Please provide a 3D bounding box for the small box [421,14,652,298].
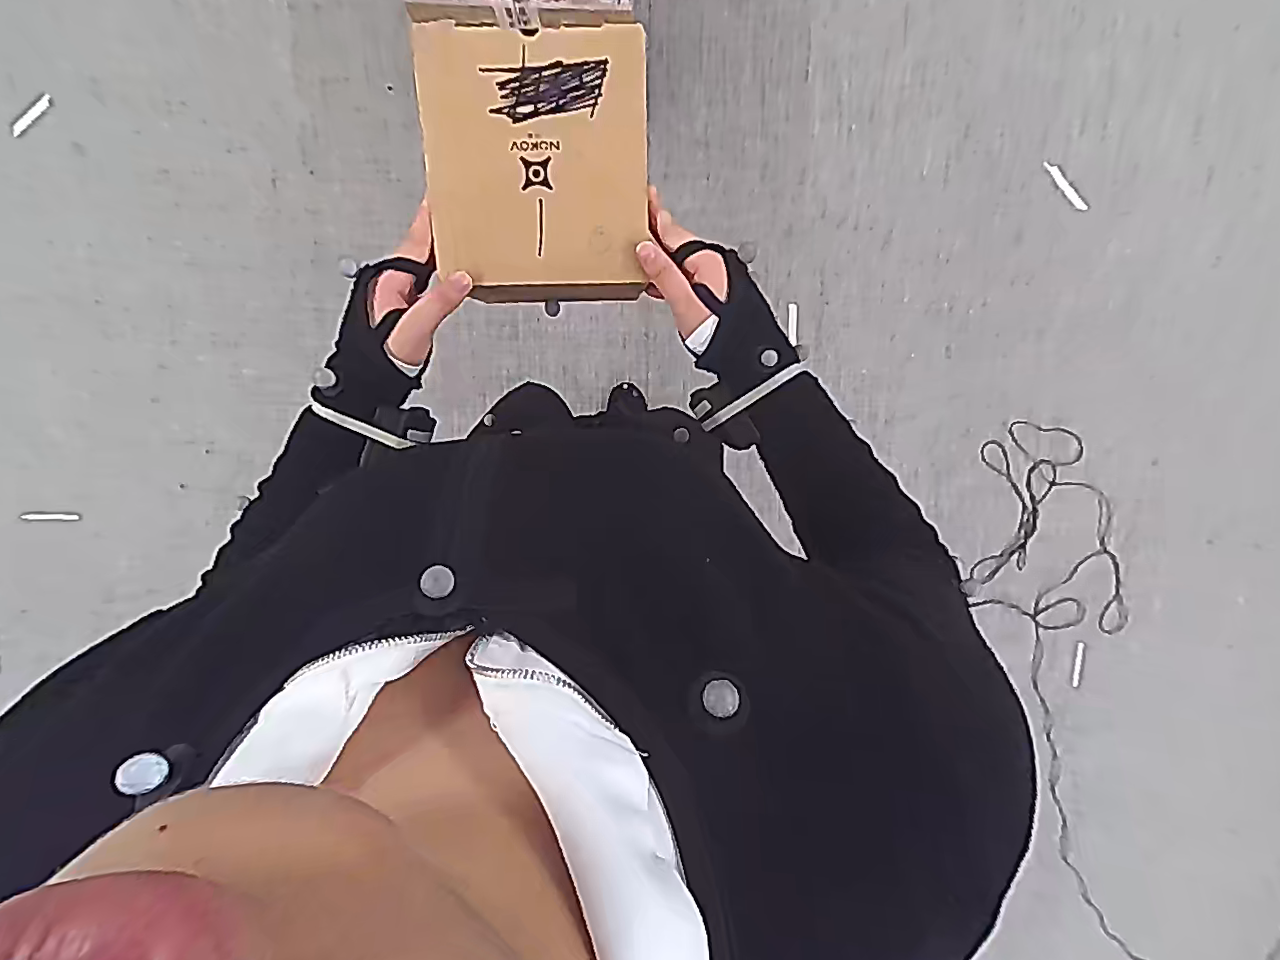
[{"bbox_3d":[-0.078,-0.261,0.479,0.168,0.176,0.179,-2,105,-3],"label":"small box"}]
